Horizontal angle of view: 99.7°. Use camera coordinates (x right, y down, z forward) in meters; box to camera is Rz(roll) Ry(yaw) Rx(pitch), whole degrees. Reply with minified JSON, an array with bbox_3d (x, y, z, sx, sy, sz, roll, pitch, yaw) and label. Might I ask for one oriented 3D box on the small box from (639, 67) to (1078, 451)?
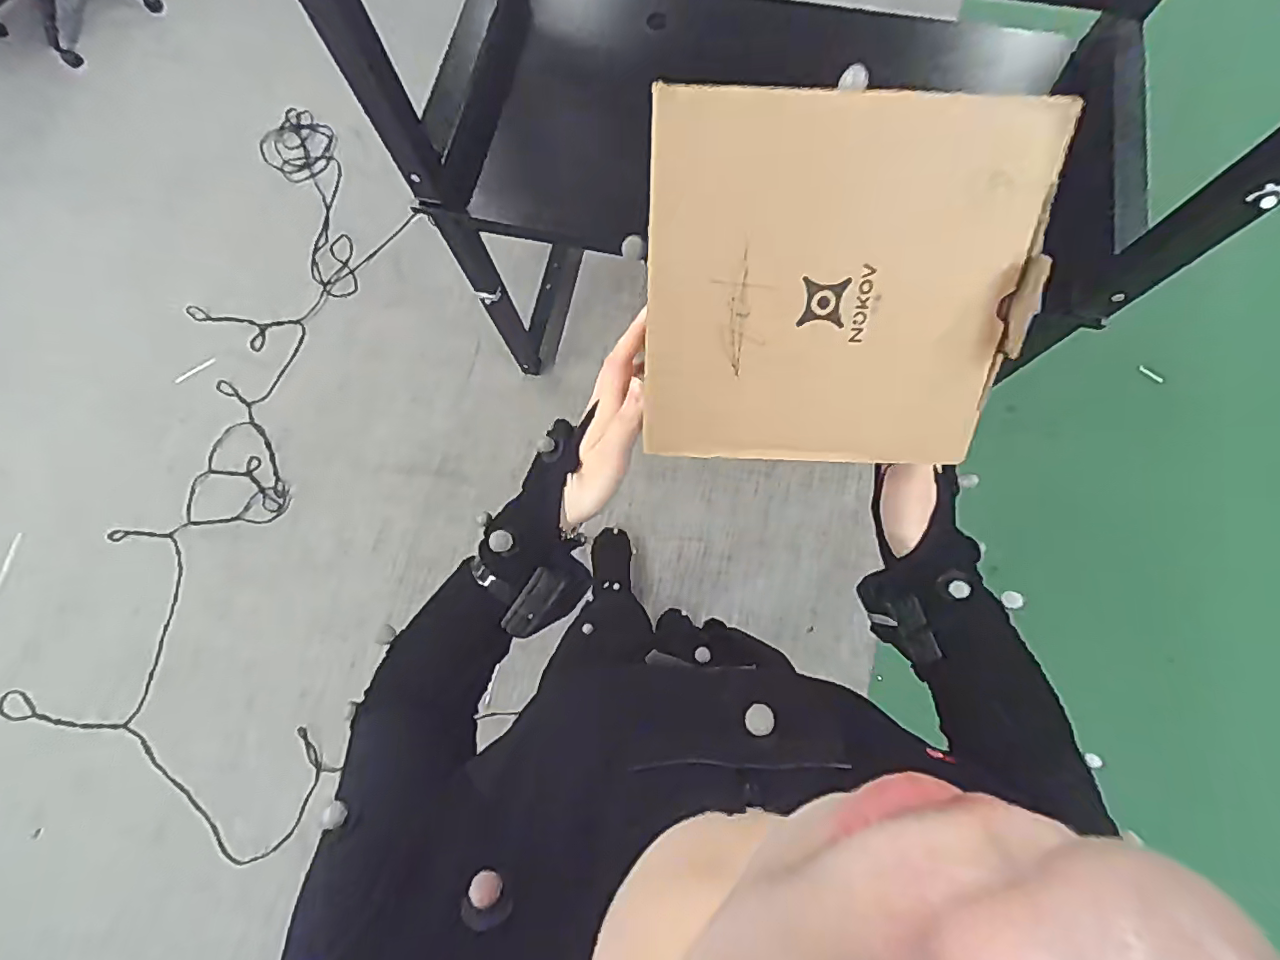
[{"bbox_3d":[0.090,-0.127,0.324,0.179,0.176,0.168,2,117,1],"label":"small box"}]
